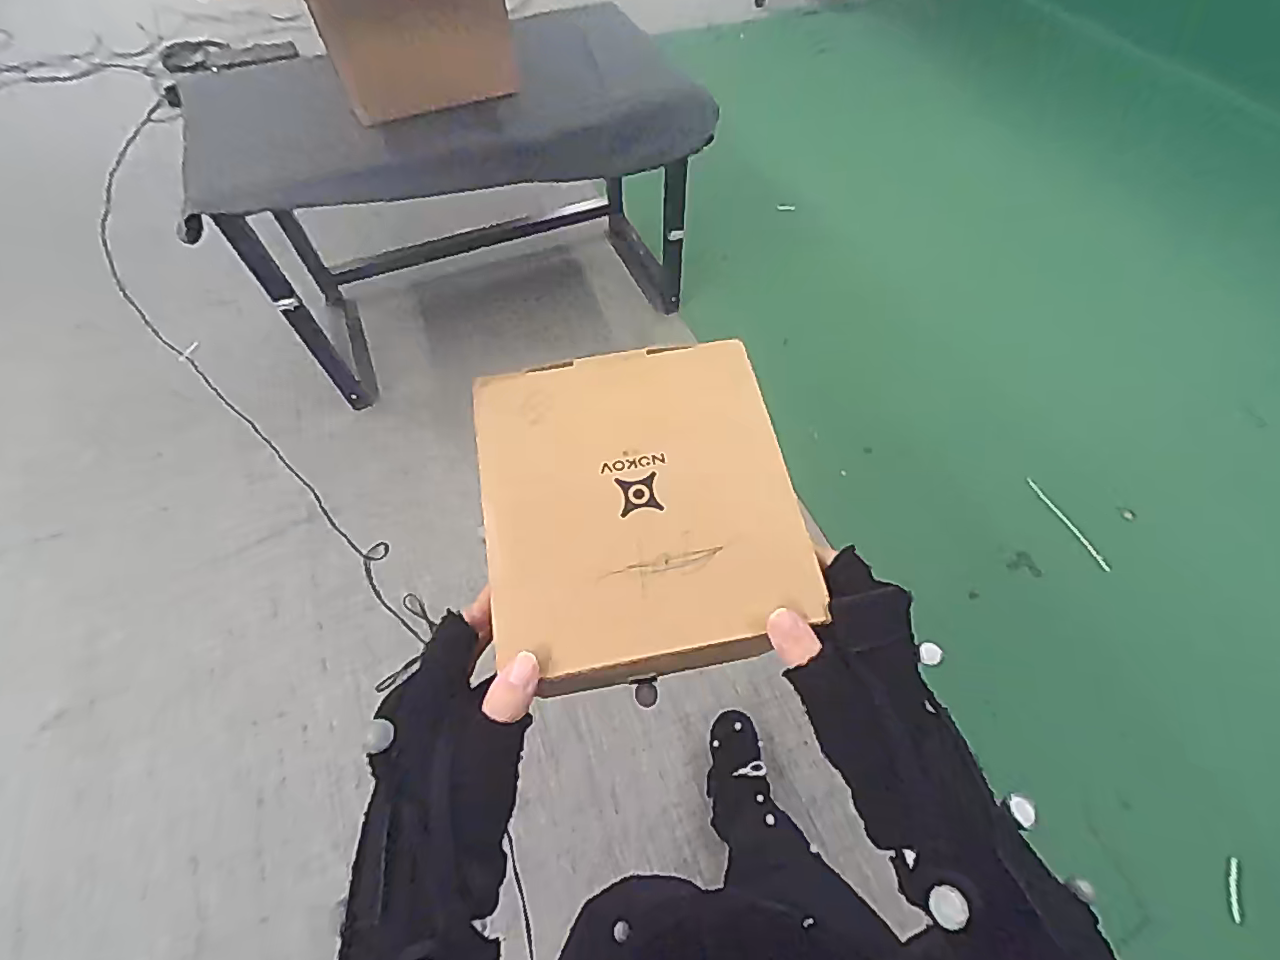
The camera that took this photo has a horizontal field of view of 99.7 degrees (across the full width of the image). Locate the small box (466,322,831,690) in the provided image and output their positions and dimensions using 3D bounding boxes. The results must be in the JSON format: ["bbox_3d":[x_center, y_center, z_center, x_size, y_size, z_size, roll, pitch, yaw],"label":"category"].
[{"bbox_3d":[-0.006,0.028,0.354,0.168,0.176,0.179,-10,67,-5],"label":"small box"}]
